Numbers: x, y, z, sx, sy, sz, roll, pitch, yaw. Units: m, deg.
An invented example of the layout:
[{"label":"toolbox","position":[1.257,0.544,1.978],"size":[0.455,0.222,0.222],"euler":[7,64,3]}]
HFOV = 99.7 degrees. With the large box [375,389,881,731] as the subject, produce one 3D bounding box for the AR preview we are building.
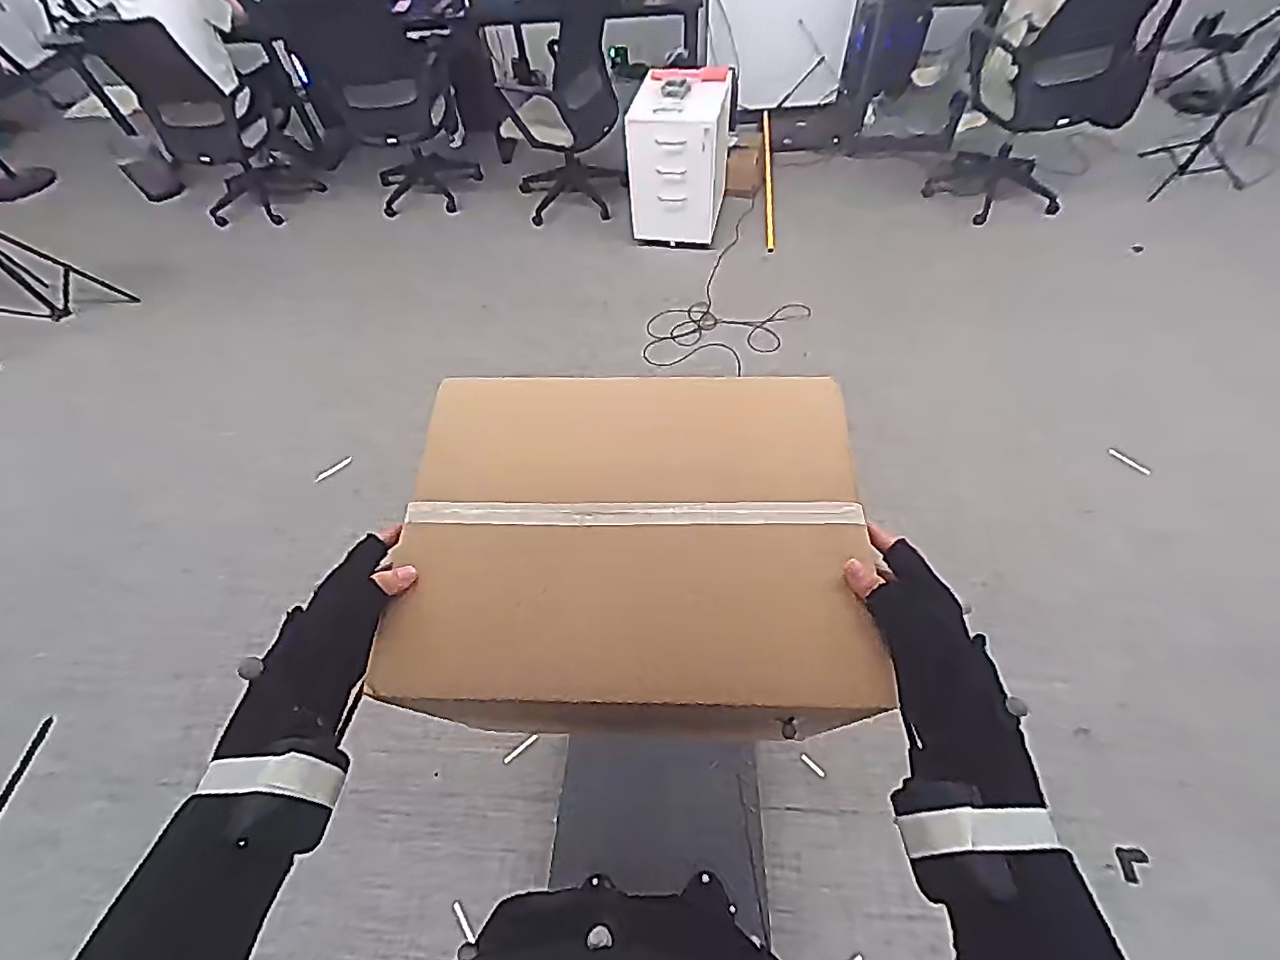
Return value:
[{"label":"large box","position":[-0.004,0.111,0.620],"size":[0.408,0.320,0.320],"euler":[1,60,2]}]
